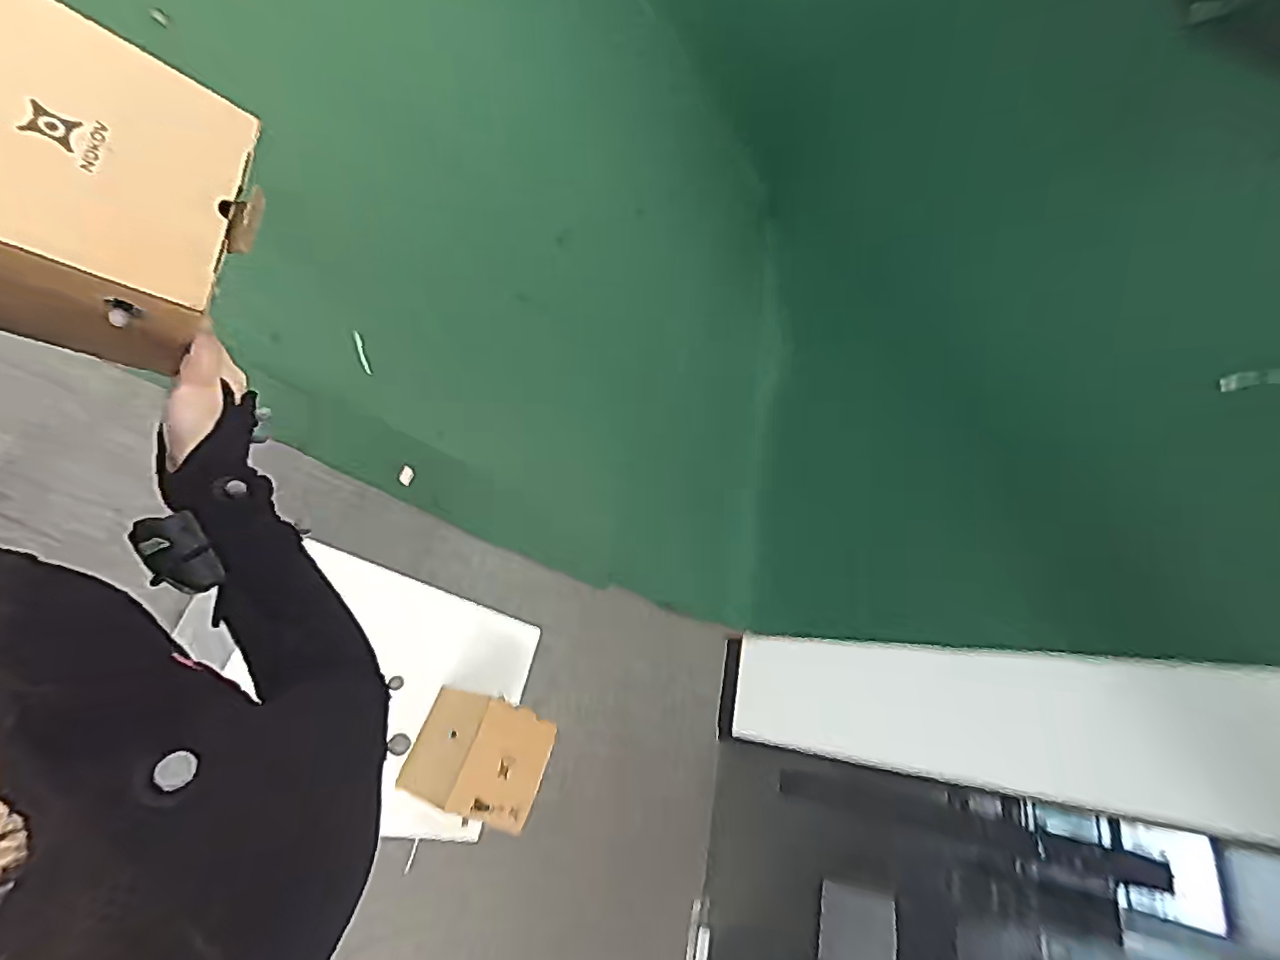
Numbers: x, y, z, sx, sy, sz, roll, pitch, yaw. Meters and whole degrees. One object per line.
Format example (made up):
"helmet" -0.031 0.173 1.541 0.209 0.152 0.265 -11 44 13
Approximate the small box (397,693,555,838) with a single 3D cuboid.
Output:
"small box" -0.286 0.487 0.942 0.168 0.176 0.179 44 51 -34

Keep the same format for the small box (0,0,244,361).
"small box" -0.413 -0.201 0.372 0.179 0.176 0.168 17 70 -45
